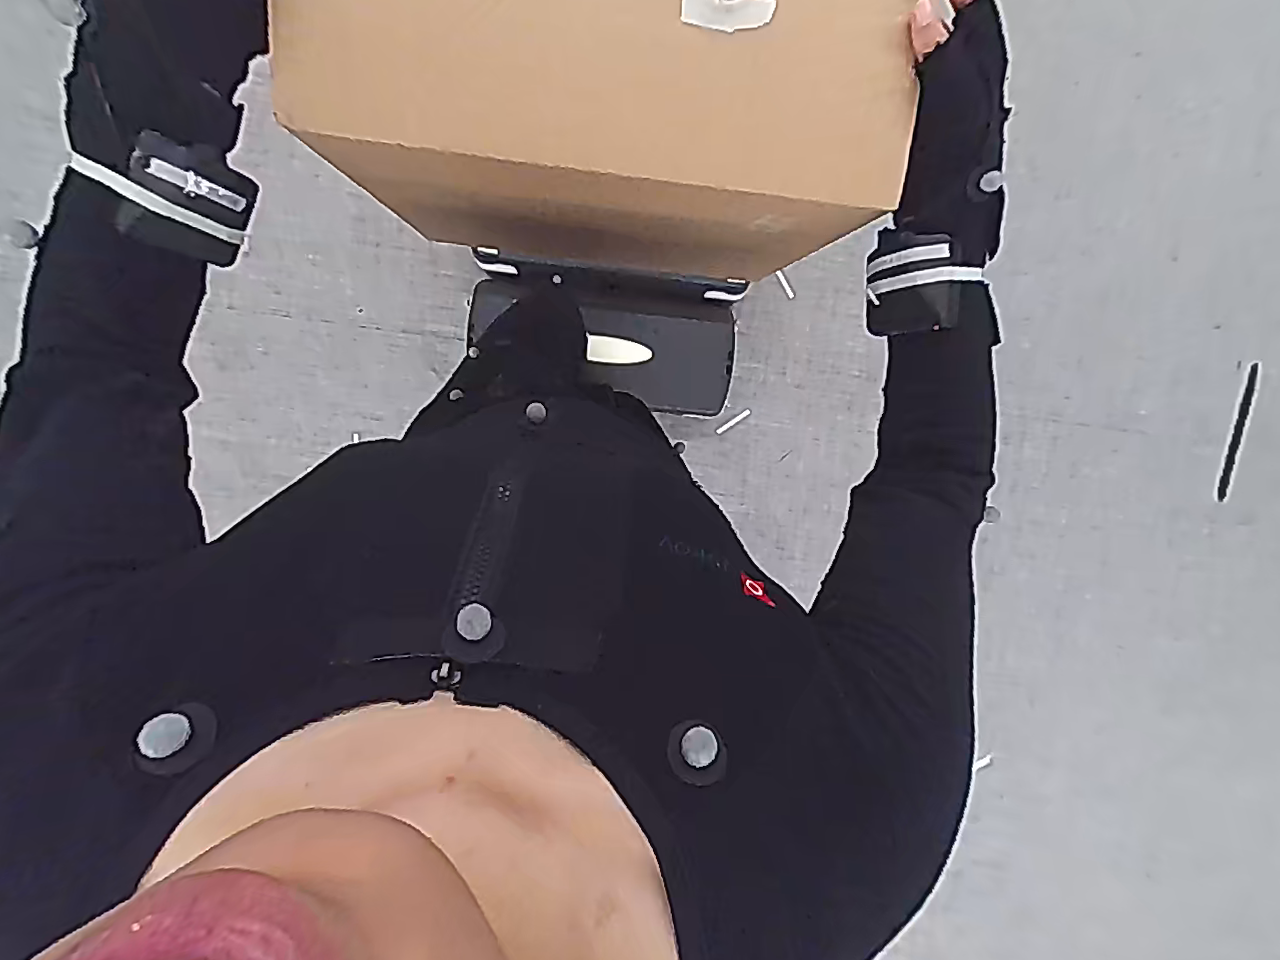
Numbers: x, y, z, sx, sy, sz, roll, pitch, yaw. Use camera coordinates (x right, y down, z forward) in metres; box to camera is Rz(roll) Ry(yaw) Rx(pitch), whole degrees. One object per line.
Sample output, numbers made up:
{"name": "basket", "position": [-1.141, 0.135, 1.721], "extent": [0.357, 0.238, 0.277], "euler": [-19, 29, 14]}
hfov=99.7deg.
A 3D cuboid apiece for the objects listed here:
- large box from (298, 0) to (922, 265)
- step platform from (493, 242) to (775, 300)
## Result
{"name": "large box", "position": [-0.021, -0.395, 0.479], "extent": [0.408, 0.320, 0.320], "euler": [4, 102, -7]}
{"name": "step platform", "position": [-0.010, -0.624, 1.304], "extent": [0.684, 0.204, 0.286], "euler": [5, 98, -4]}
